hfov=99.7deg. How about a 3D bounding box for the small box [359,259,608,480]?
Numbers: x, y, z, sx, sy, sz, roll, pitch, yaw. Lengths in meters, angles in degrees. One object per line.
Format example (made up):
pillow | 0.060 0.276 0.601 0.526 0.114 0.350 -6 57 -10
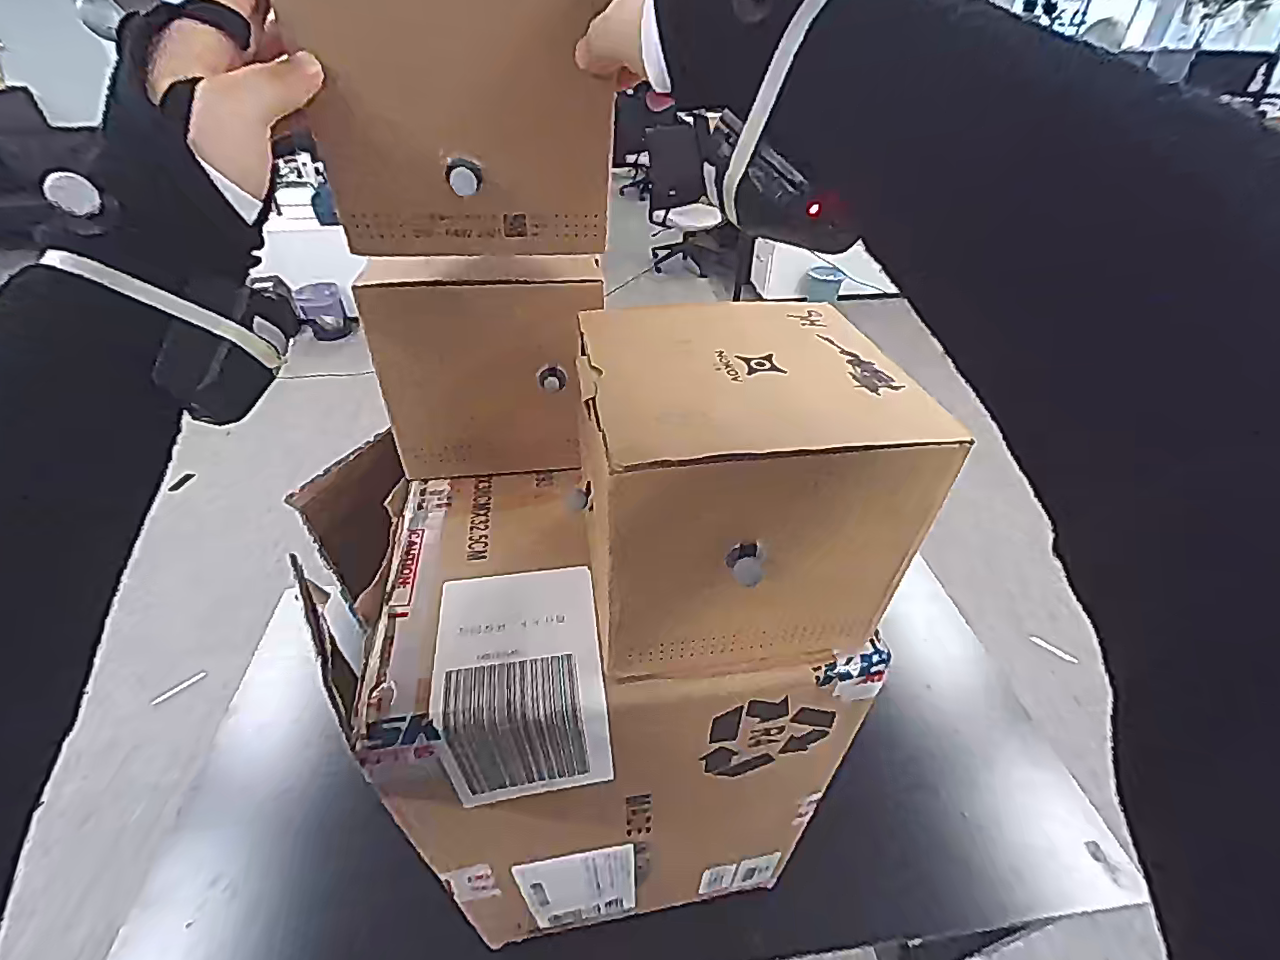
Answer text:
small box | -0.124 -0.116 0.496 0.179 0.176 0.168 -6 37 -8

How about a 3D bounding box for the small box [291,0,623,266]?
small box | -0.110 -0.264 0.358 0.168 0.176 0.179 -5 51 -11

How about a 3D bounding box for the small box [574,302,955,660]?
small box | 0.055 -0.001 0.359 0.179 0.176 0.168 -6 42 -8
